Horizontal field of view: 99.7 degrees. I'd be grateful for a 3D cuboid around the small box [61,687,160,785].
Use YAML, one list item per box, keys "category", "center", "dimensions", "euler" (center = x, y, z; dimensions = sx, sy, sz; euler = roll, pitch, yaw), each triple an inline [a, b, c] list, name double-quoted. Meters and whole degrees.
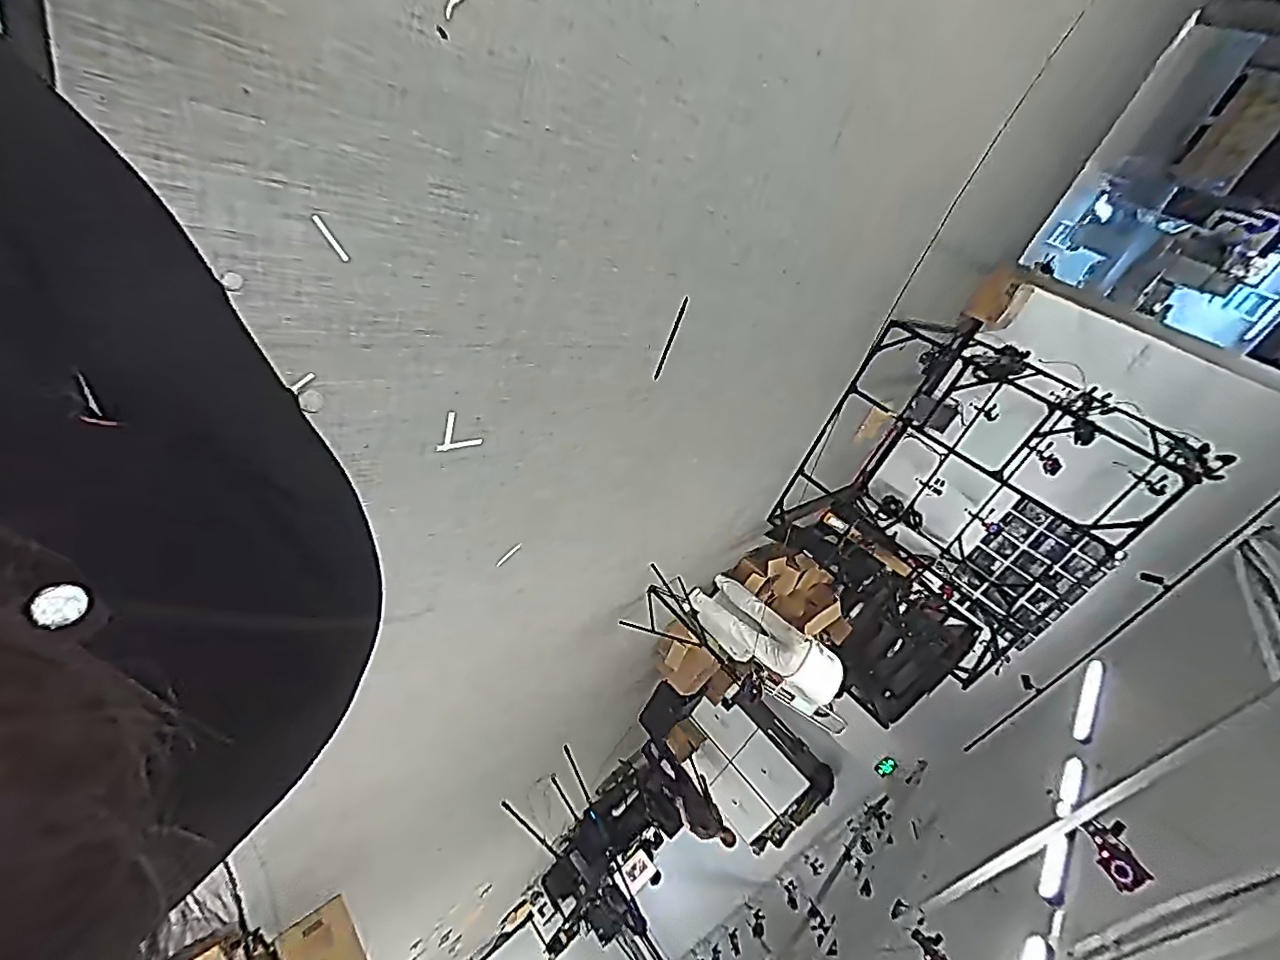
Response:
- category: "small box"
  center: [-1.543, 0.734, 1.576]
  dimensions: [0.168, 0.176, 0.179]
  euler: [-18, 140, -42]
